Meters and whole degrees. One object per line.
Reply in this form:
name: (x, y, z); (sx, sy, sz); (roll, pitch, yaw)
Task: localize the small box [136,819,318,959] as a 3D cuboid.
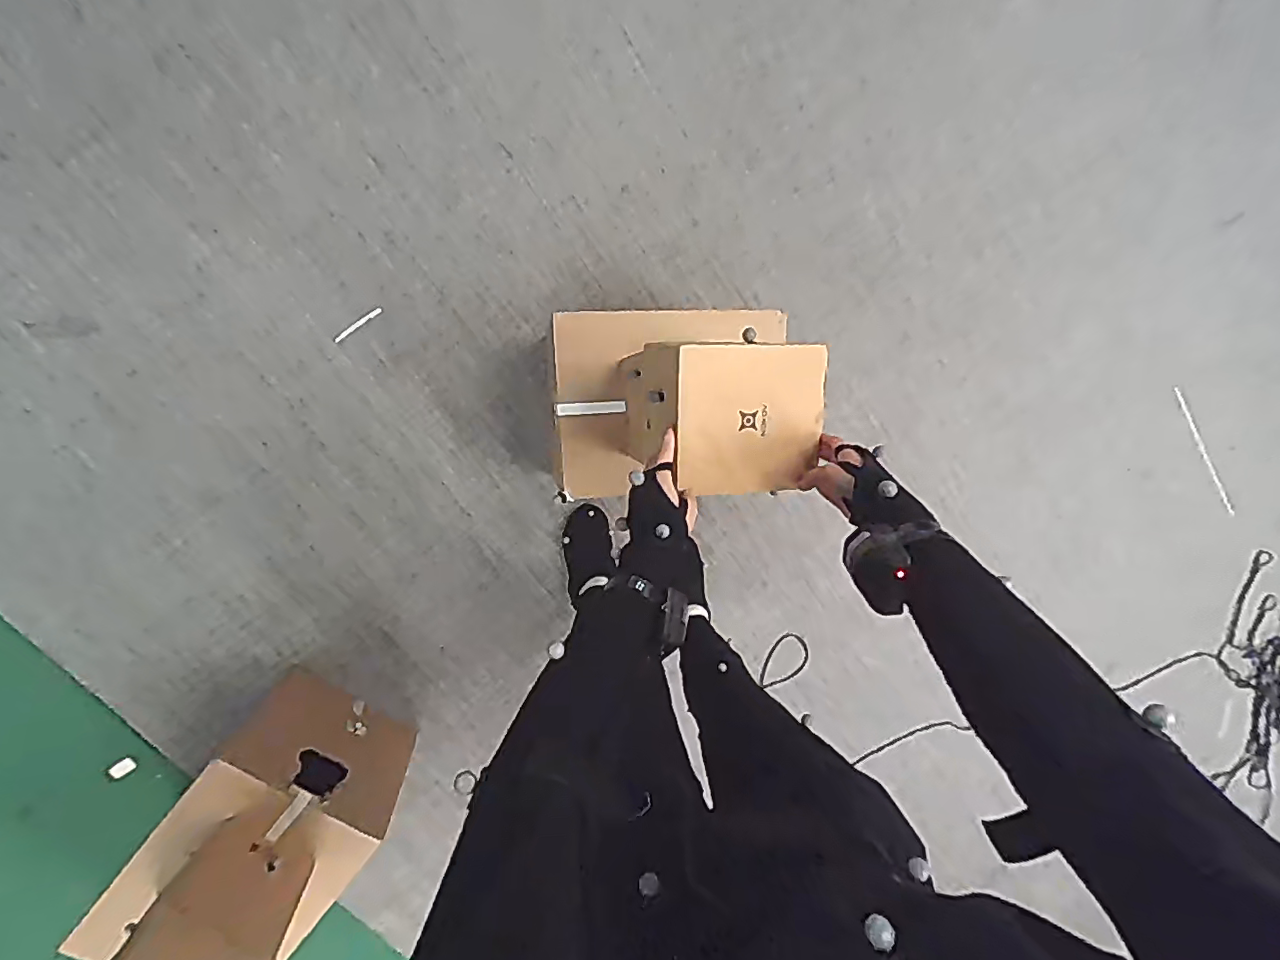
small box: (-0.635, 0.675, 0.823); (0.168, 0.176, 0.179); (42, 88, -15)

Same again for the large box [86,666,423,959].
large box: (-0.699, 0.661, 1.060); (0.320, 0.320, 0.408); (39, 91, -13)

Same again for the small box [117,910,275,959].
small box: (-0.599, 0.690, 0.663); (0.179, 0.176, 0.168); (44, 88, -15)

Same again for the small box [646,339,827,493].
small box: (0.106, -0.086, 0.669); (0.179, 0.176, 0.168); (-5, 104, -13)
